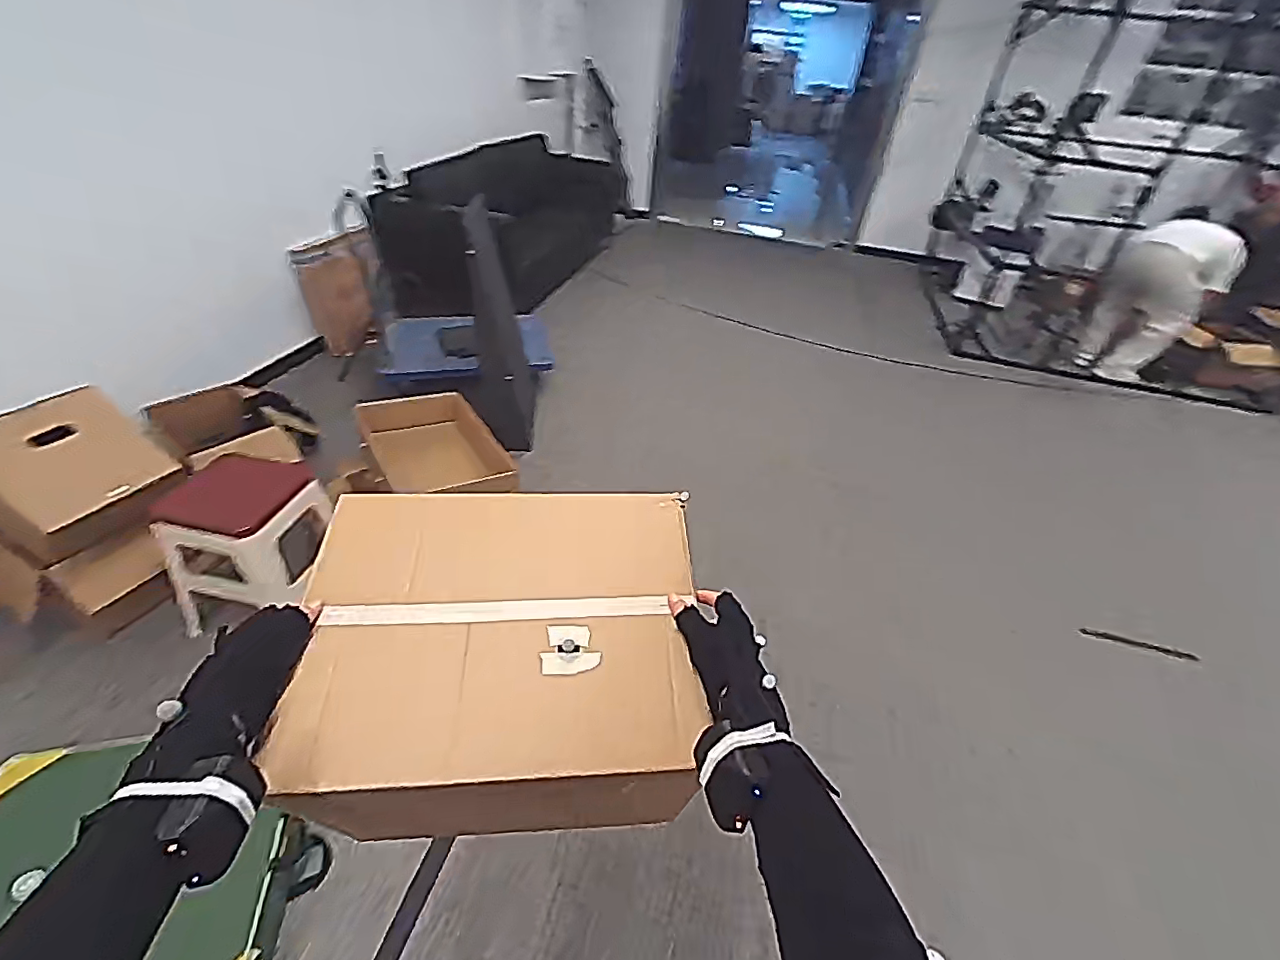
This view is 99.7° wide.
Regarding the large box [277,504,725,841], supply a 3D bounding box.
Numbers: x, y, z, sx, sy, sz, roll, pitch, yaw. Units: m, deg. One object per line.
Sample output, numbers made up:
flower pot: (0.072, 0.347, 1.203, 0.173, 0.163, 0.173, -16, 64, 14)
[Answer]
large box: (-0.142, 0.244, 0.690, 0.408, 0.320, 0.320, 1, 50, -6)
